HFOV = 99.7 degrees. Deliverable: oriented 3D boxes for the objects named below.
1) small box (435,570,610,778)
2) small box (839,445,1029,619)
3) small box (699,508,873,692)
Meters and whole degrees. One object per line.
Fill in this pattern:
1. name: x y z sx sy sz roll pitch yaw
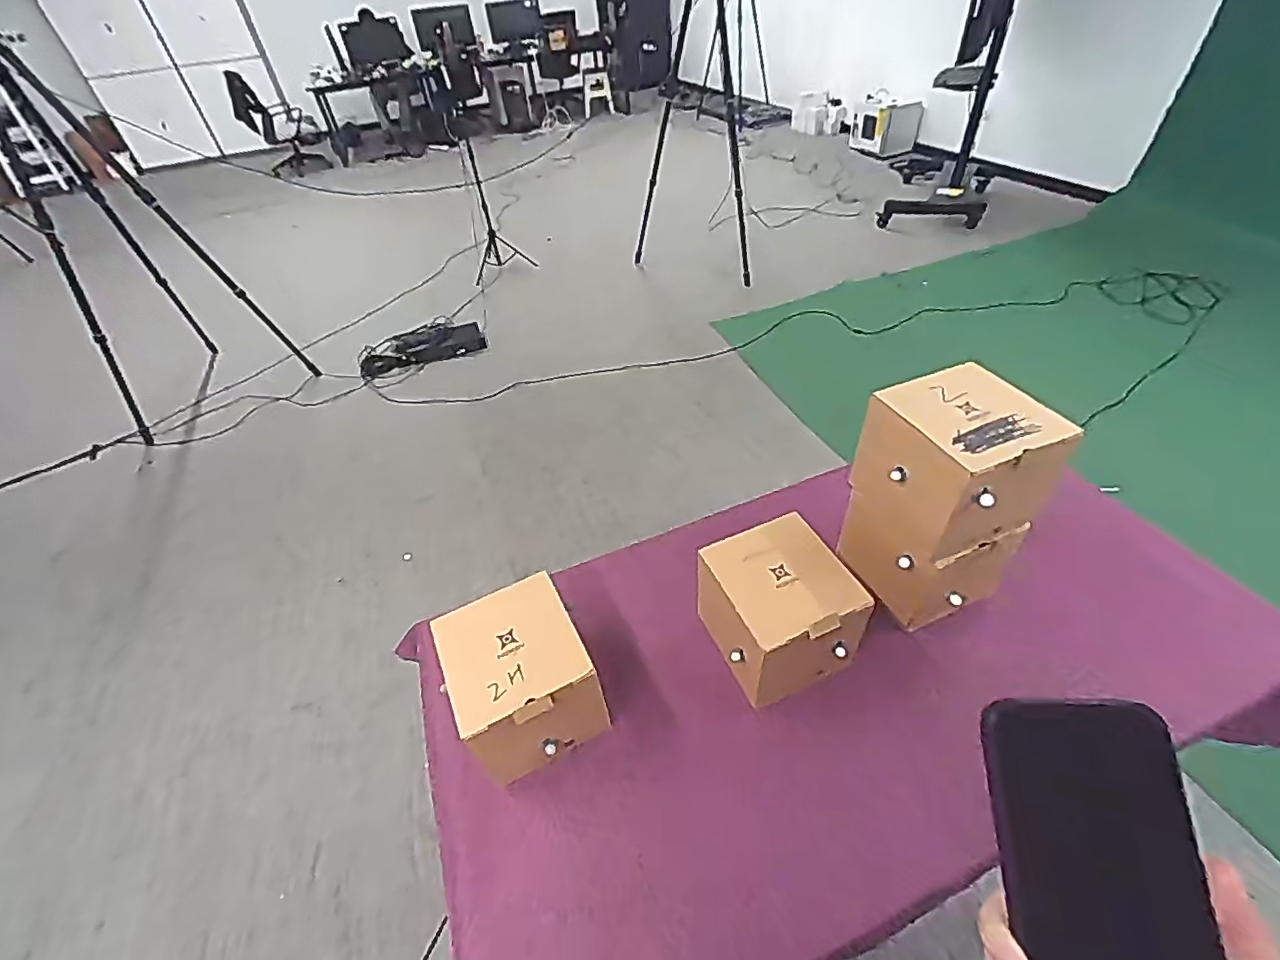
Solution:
1. small box: -0.155 0.262 0.733 0.168 0.176 0.179 -24 47 -16
2. small box: 0.436 0.081 0.839 0.168 0.176 0.179 -20 47 -13
3. small box: 0.197 0.177 0.776 0.168 0.176 0.179 -20 45 -13
